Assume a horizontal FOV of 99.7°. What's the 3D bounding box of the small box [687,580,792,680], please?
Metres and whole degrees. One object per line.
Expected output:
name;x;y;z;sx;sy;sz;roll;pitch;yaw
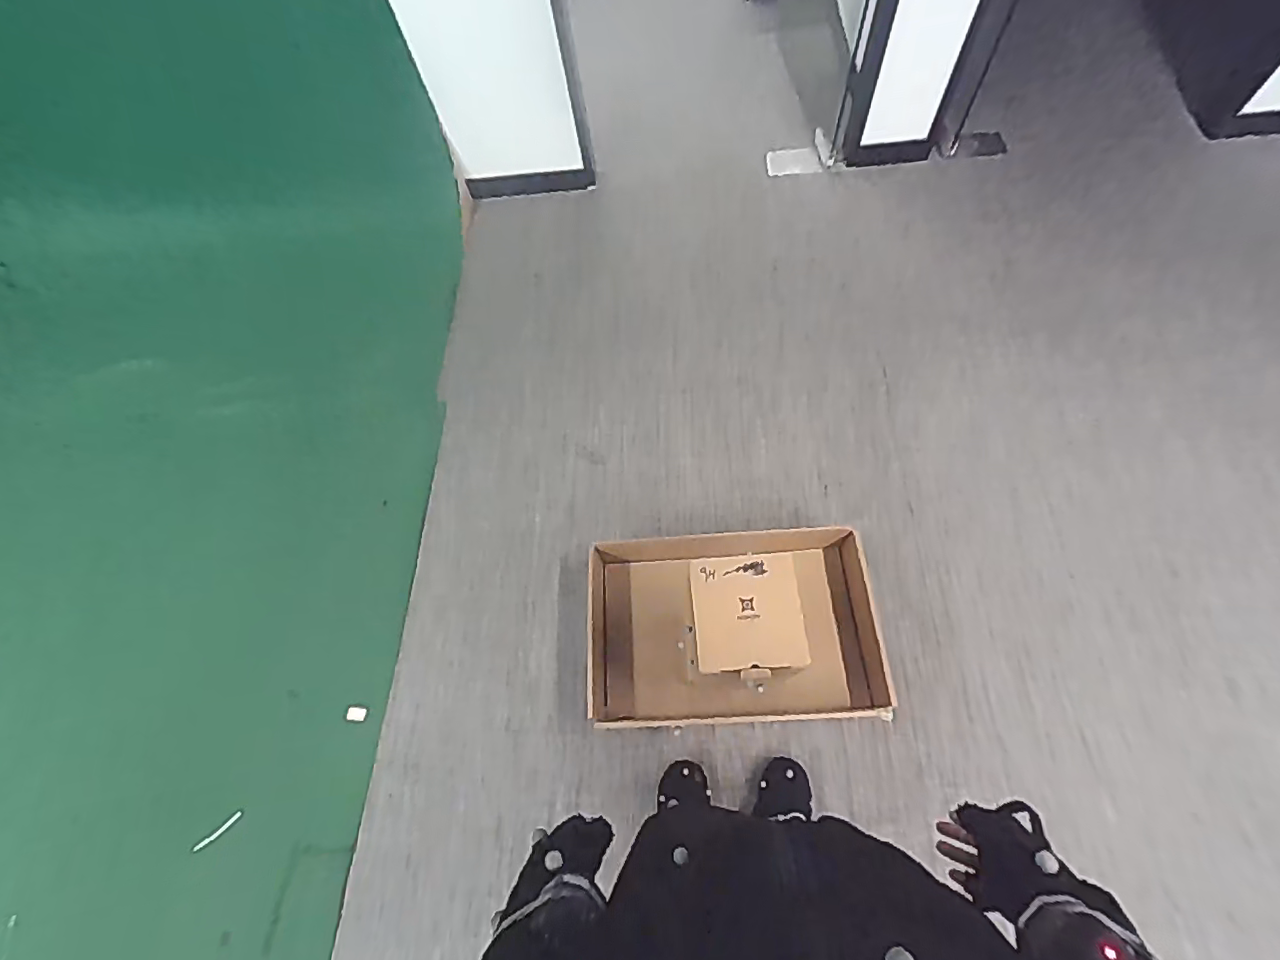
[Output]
small box;0.185;0.287;1.040;0.168;0.176;0.179;-8;66;3

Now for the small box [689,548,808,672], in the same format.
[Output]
small box;0.172;0.225;0.907;0.168;0.176;0.179;-5;66;3

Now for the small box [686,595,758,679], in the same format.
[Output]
small box;0.196;0.349;1.207;0.179;0.176;0.168;-4;65;7
